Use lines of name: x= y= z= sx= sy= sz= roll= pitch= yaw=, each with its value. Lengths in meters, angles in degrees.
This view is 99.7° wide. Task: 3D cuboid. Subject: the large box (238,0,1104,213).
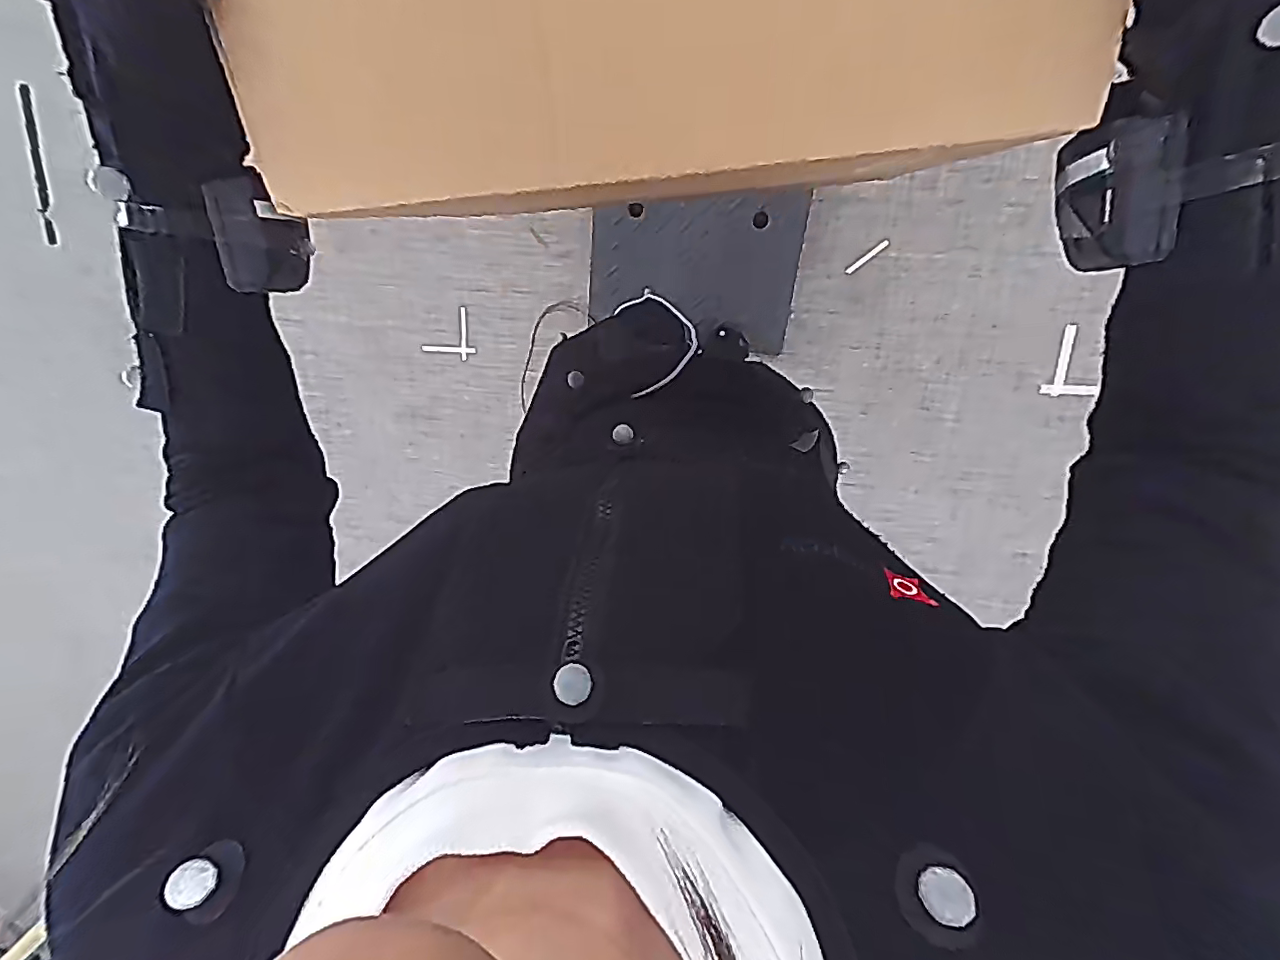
large box: x=0.007 y=-0.365 z=0.346 sx=0.408 sy=0.320 sz=0.320 roll=-2 pitch=116 yaw=9

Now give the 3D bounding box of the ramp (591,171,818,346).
ramp: x=0.153 y=-0.804 z=1.136 sx=0.509 sy=0.206 sz=0.991 roll=7 pitch=107 yaw=6
